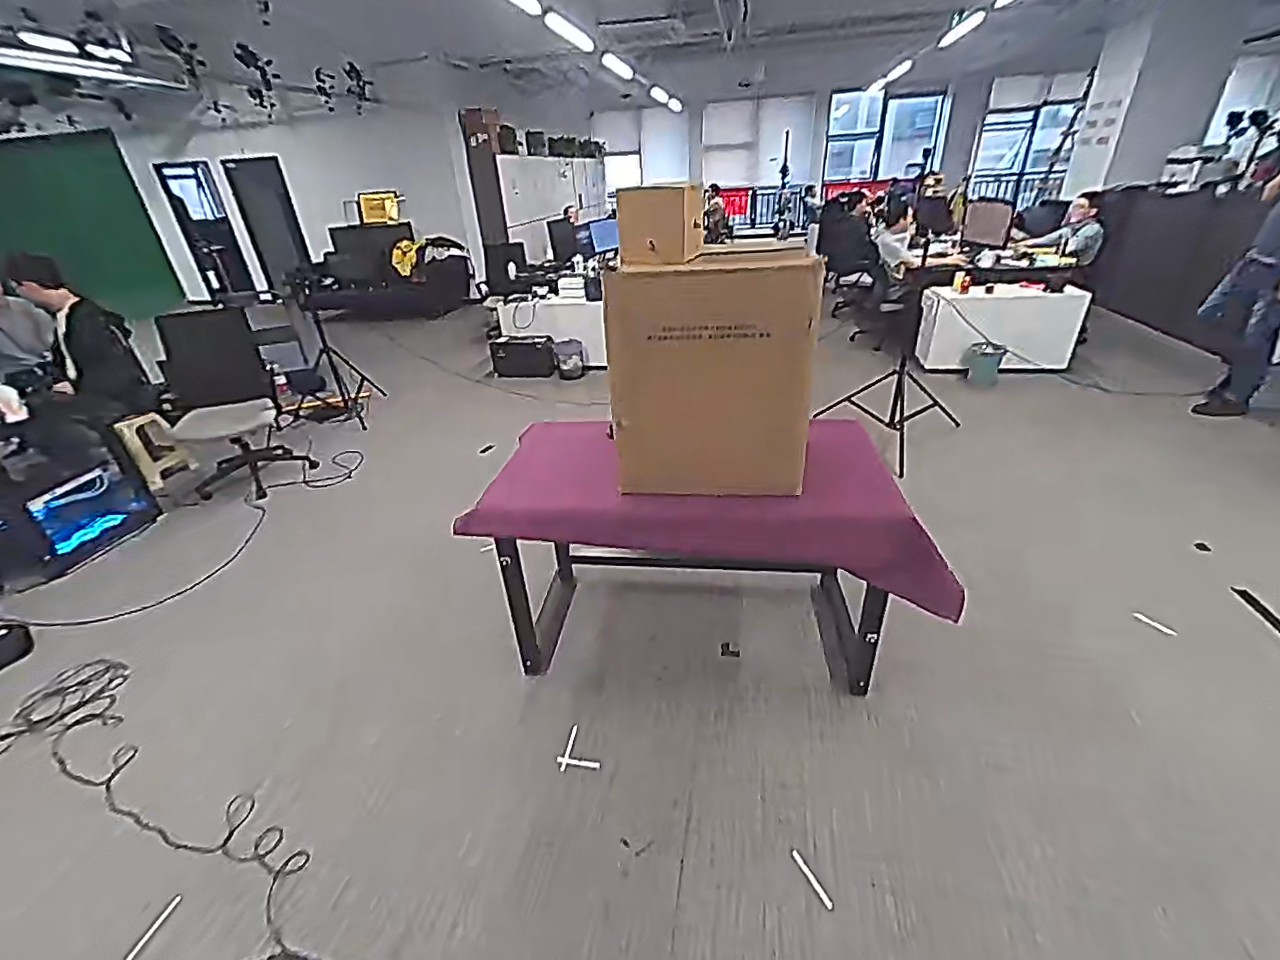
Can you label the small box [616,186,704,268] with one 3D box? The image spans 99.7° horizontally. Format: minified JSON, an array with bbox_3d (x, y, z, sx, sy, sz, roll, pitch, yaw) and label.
[{"bbox_3d":[0.055,-0.638,1.364,0.179,0.176,0.168,10,33,20],"label":"small box"}]
